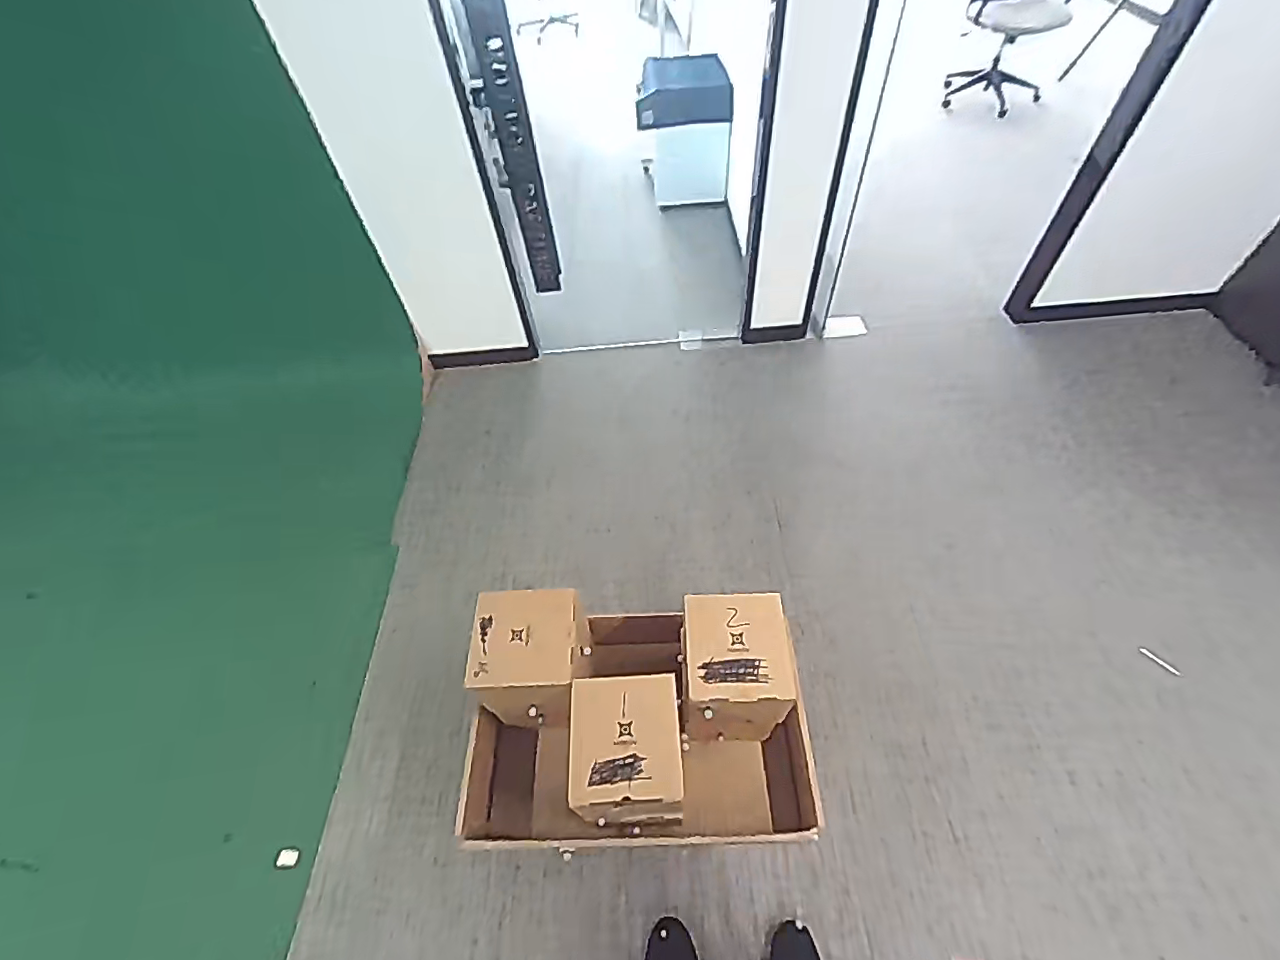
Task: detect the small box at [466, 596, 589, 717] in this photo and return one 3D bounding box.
[{"bbox_3d":[-0.187,0.317,0.966,0.179,0.176,0.168,-2,53,2],"label":"small box"}]
